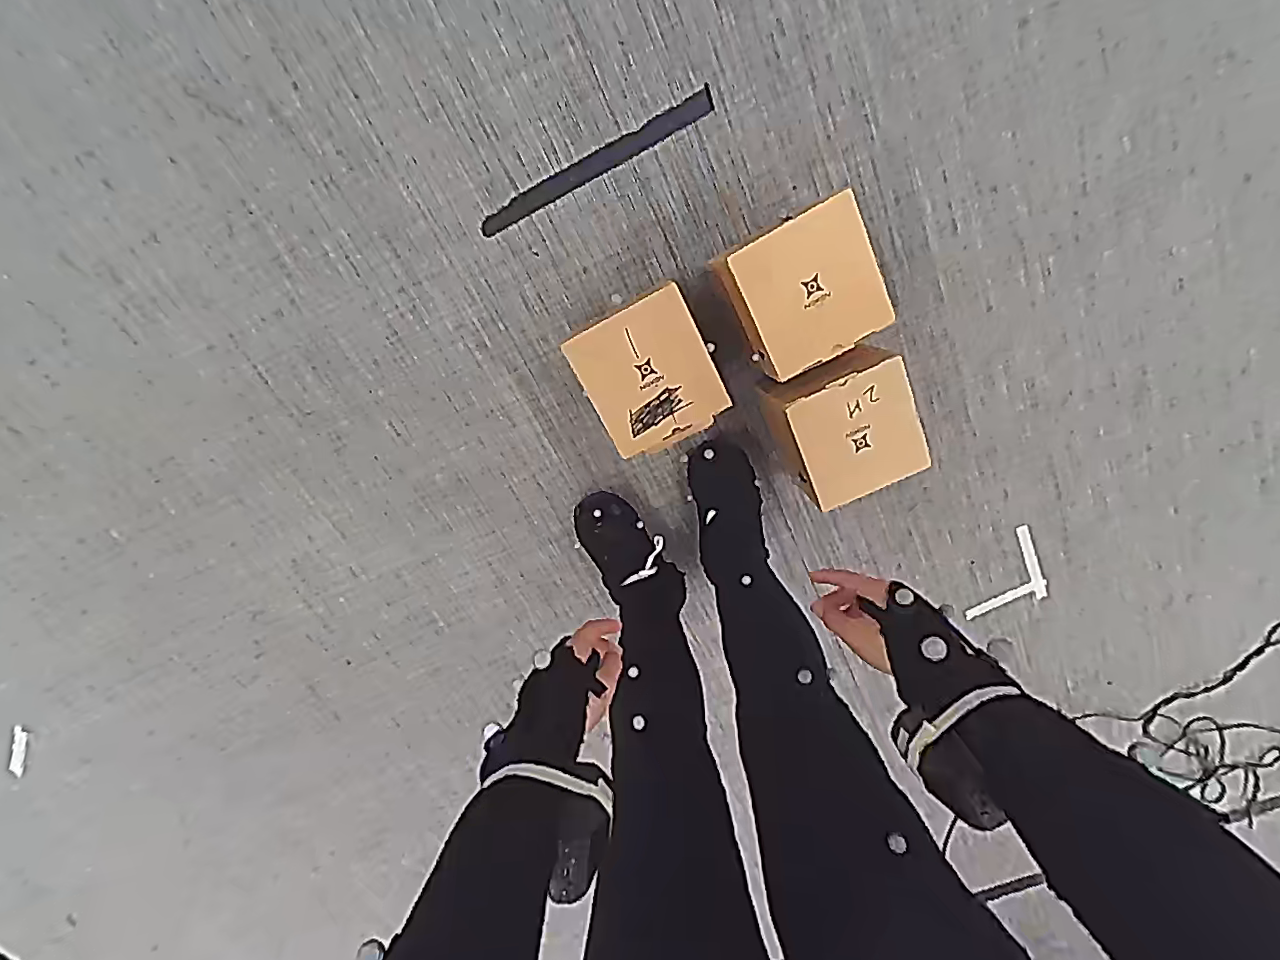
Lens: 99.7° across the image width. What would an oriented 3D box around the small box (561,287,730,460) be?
[{"bbox_3d":[0.008,-0.159,0.768,0.168,0.176,0.179,-26,109,7],"label":"small box"}]
